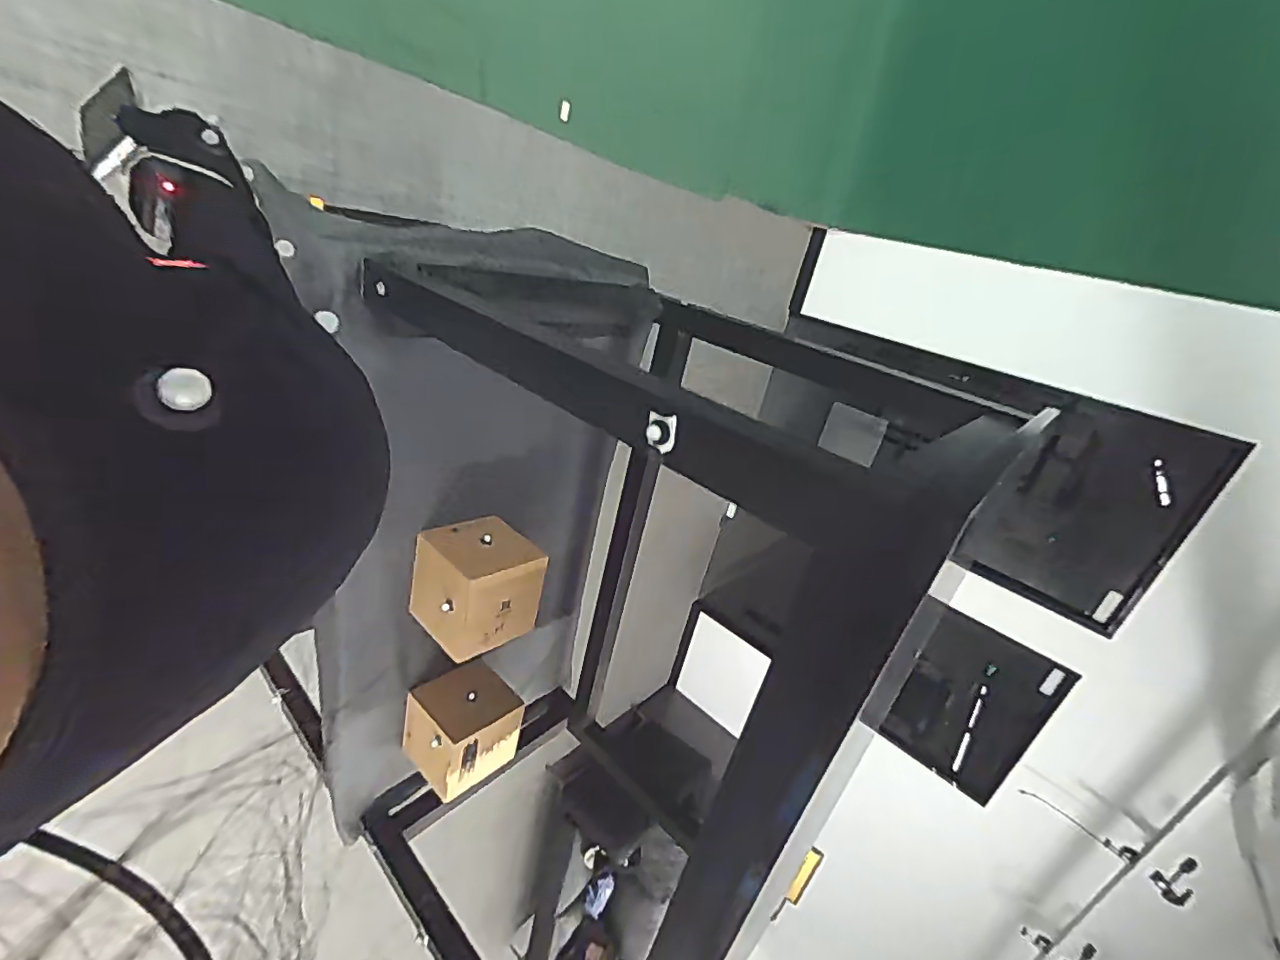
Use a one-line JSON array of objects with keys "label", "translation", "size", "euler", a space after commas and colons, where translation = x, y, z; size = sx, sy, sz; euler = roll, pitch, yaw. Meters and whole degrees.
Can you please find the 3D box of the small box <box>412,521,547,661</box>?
[{"label": "small box", "translation": [-0.300, 0.189, 0.995], "size": [0.168, 0.176, 0.179], "euler": [-12, 124, -49]}]
